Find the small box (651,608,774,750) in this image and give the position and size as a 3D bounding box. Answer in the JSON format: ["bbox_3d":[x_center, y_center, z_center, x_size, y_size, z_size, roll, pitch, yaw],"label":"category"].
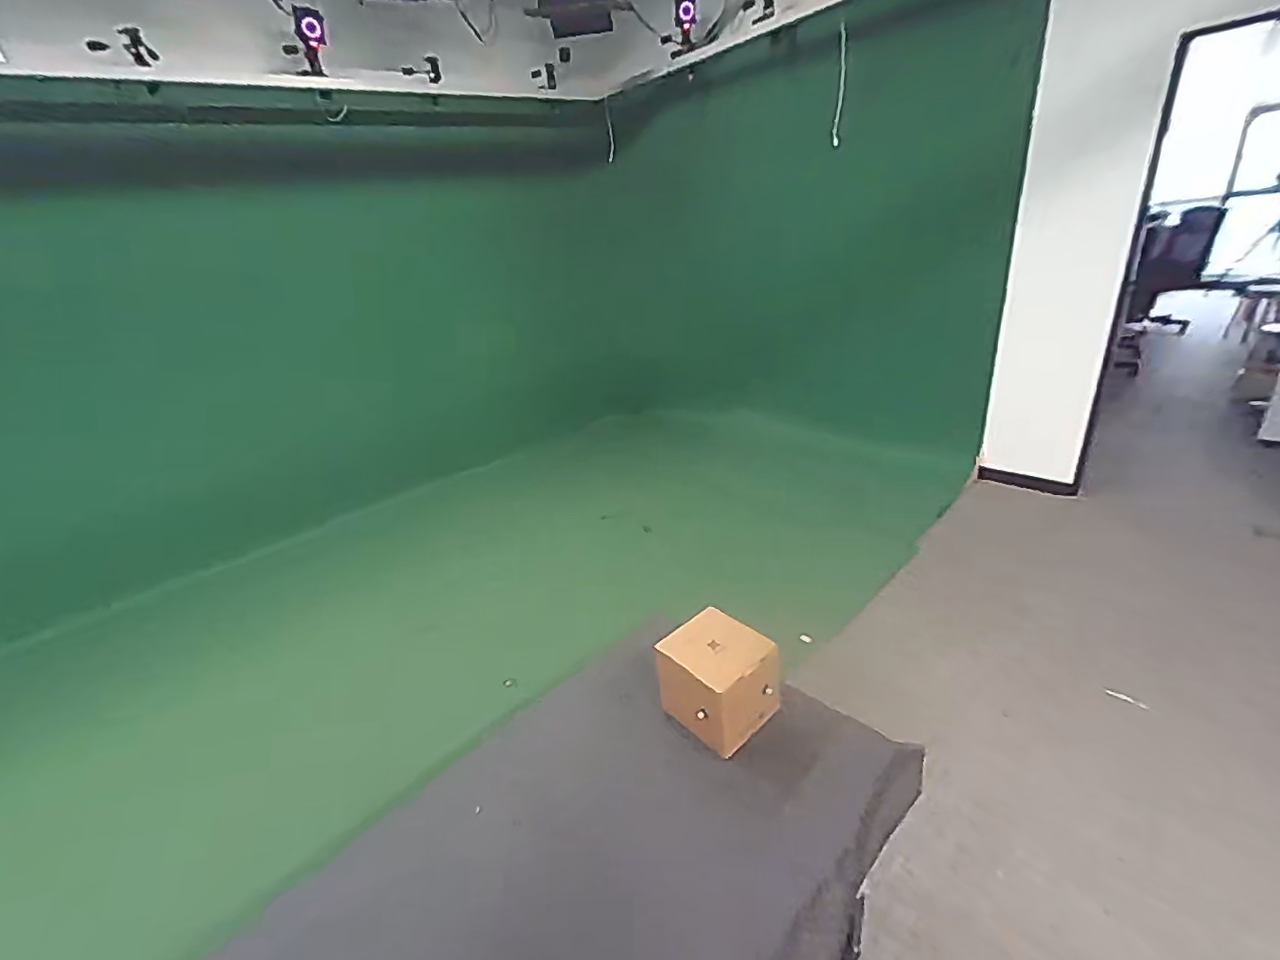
[{"bbox_3d":[0.146,0.389,1.056,0.168,0.176,0.179,-24,28,-34],"label":"small box"}]
